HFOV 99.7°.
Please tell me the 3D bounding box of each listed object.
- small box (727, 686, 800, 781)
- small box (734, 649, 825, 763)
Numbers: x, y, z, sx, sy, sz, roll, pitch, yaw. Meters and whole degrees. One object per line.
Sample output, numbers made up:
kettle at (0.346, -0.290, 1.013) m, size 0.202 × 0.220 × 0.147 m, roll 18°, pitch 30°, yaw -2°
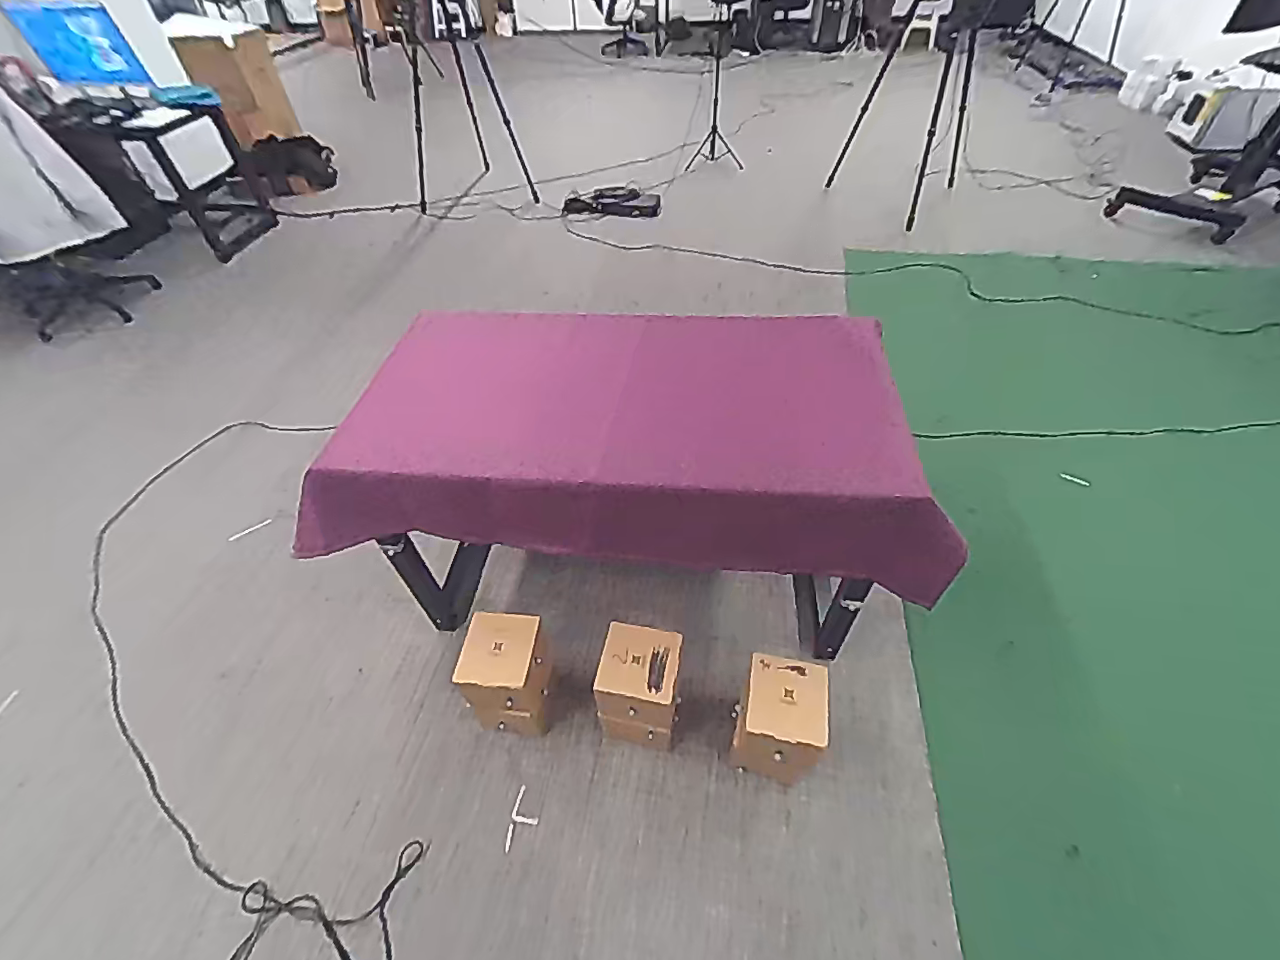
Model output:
small box at (0.314, 0.616, 1.339) m, size 0.168 × 0.176 × 0.179 m, roll 12°, pitch 49°, yaw 13°
small box at (0.309, 0.510, 1.211) m, size 0.168 × 0.176 × 0.179 m, roll 11°, pitch 51°, yaw 9°
